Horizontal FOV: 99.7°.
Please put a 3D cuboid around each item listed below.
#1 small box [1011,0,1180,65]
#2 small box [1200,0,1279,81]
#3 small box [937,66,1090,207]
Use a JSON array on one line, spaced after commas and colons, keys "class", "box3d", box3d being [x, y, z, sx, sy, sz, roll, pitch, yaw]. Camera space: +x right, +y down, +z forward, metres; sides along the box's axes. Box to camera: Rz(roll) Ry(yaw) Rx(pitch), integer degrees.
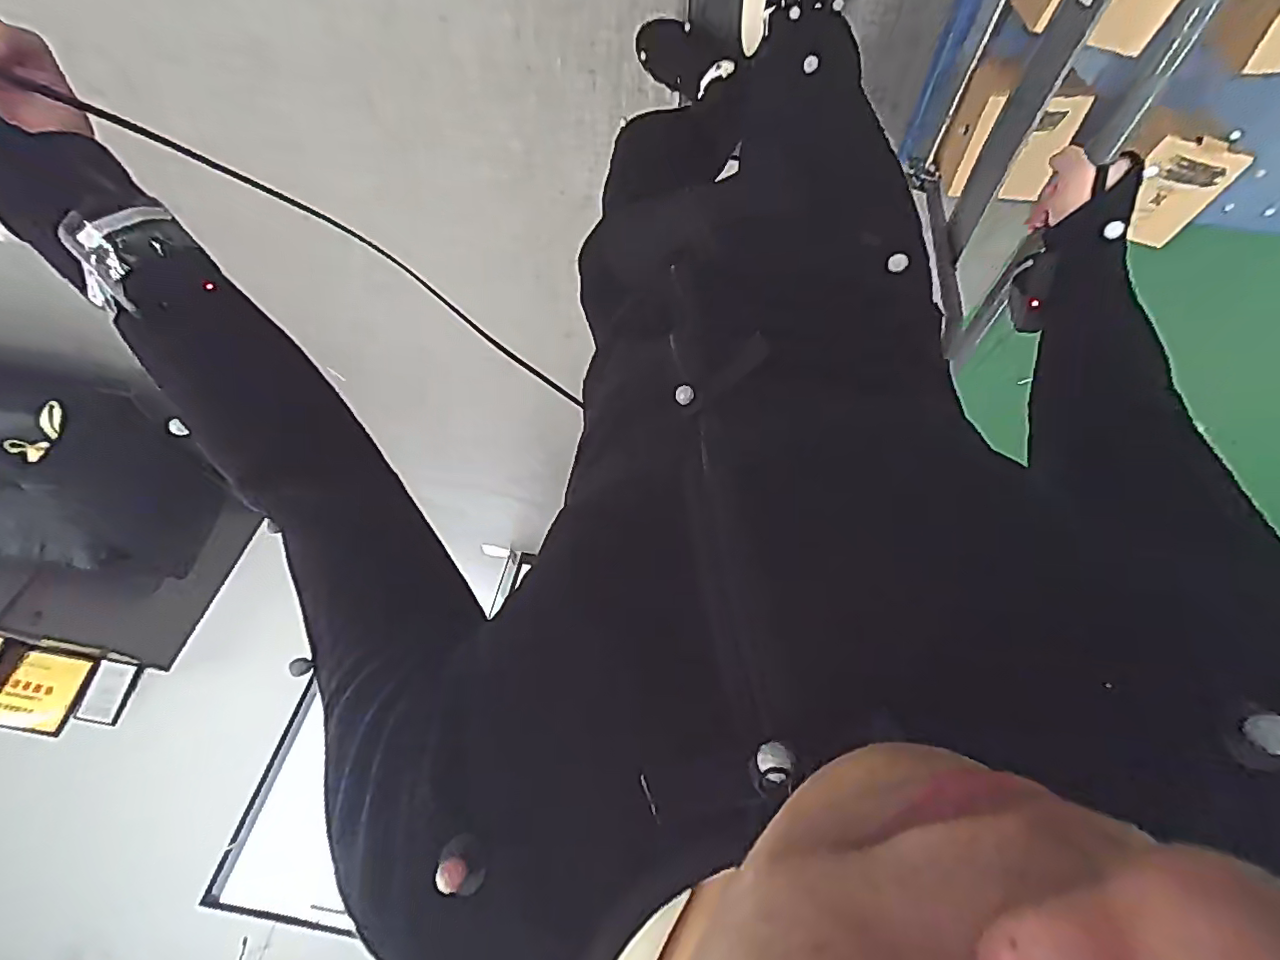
[{"class": "small box", "box3d": [0.715, -0.781, 0.826, 0.179, 0.176, 0.168, 14, 146, -1]}, {"class": "small box", "box3d": [1.014, -0.727, 0.808, 0.179, 0.176, 0.168, 4, 146, 11]}, {"class": "small box", "box3d": [0.684, -0.649, 1.020, 0.168, 0.176, 0.179, 8, 146, 7]}]
